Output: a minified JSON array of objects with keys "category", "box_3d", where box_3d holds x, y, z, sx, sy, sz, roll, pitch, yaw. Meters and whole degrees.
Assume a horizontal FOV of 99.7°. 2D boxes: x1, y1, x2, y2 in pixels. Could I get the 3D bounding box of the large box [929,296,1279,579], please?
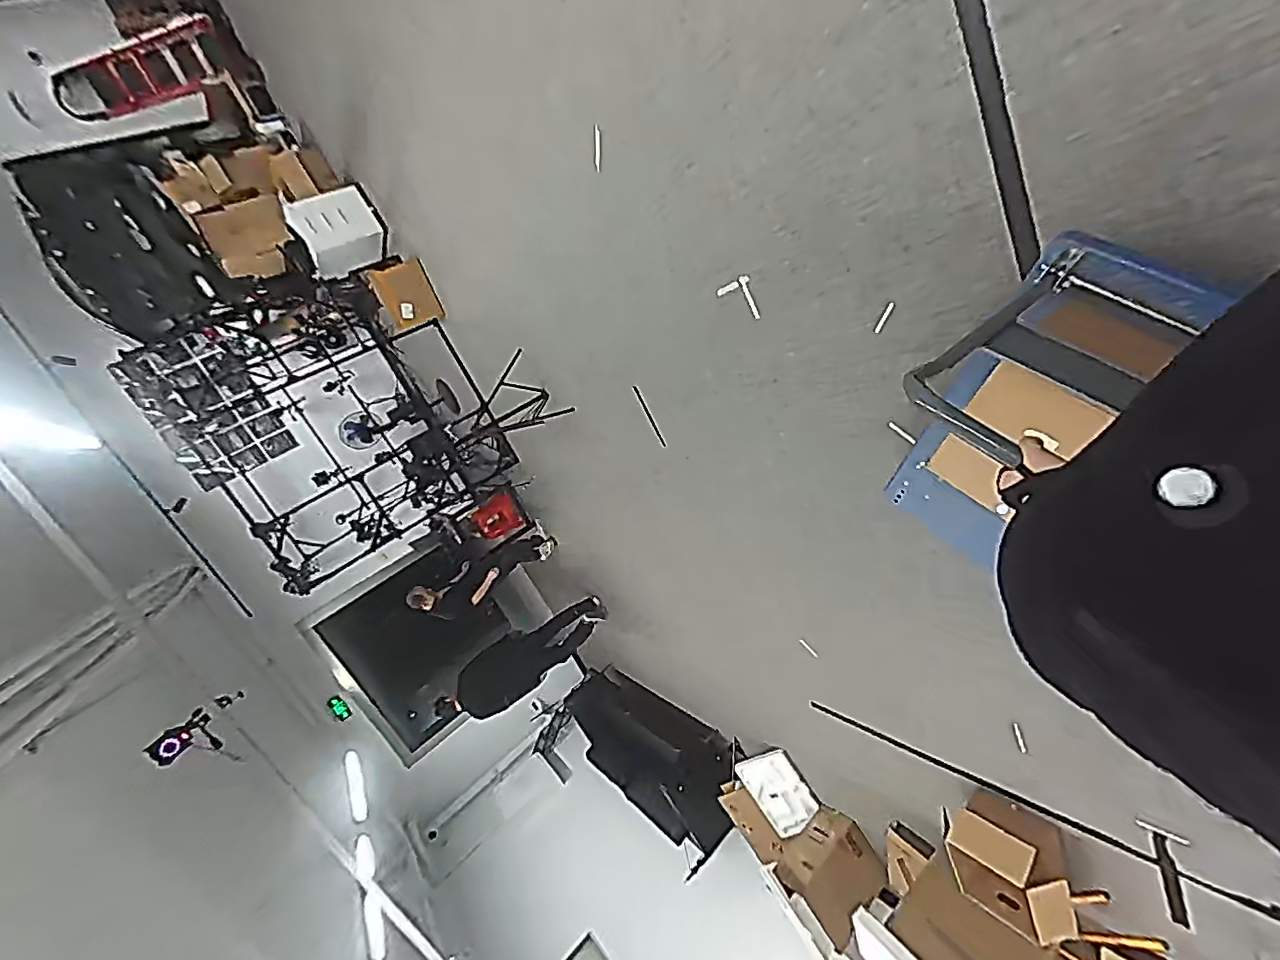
[{"category":"large box","box_3d":[0.891,-0.092,1.062,0.408,0.320,0.320,43,151,26]}]
